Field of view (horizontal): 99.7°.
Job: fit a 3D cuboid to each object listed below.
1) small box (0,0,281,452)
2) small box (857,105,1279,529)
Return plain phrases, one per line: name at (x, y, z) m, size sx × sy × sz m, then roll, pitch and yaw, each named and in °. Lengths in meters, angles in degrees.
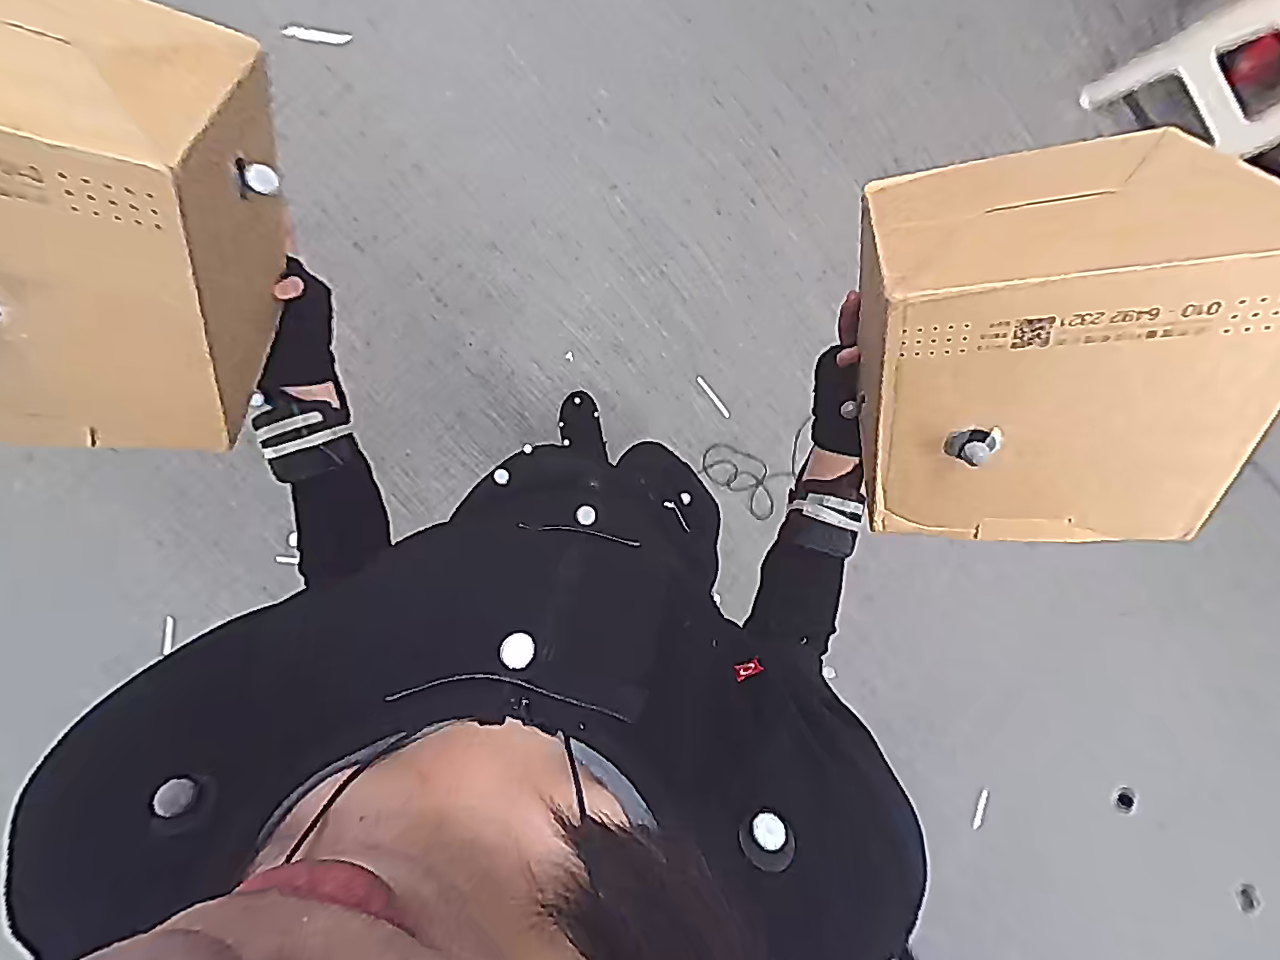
small box at (-0.296, -0.138, 0.268) m, size 0.168 × 0.179 × 0.176 m, roll 6°, pitch 137°, yaw -24°
small box at (0.222, -0.090, 0.315) m, size 0.168 × 0.179 × 0.176 m, roll 0°, pitch 133°, yaw 18°
